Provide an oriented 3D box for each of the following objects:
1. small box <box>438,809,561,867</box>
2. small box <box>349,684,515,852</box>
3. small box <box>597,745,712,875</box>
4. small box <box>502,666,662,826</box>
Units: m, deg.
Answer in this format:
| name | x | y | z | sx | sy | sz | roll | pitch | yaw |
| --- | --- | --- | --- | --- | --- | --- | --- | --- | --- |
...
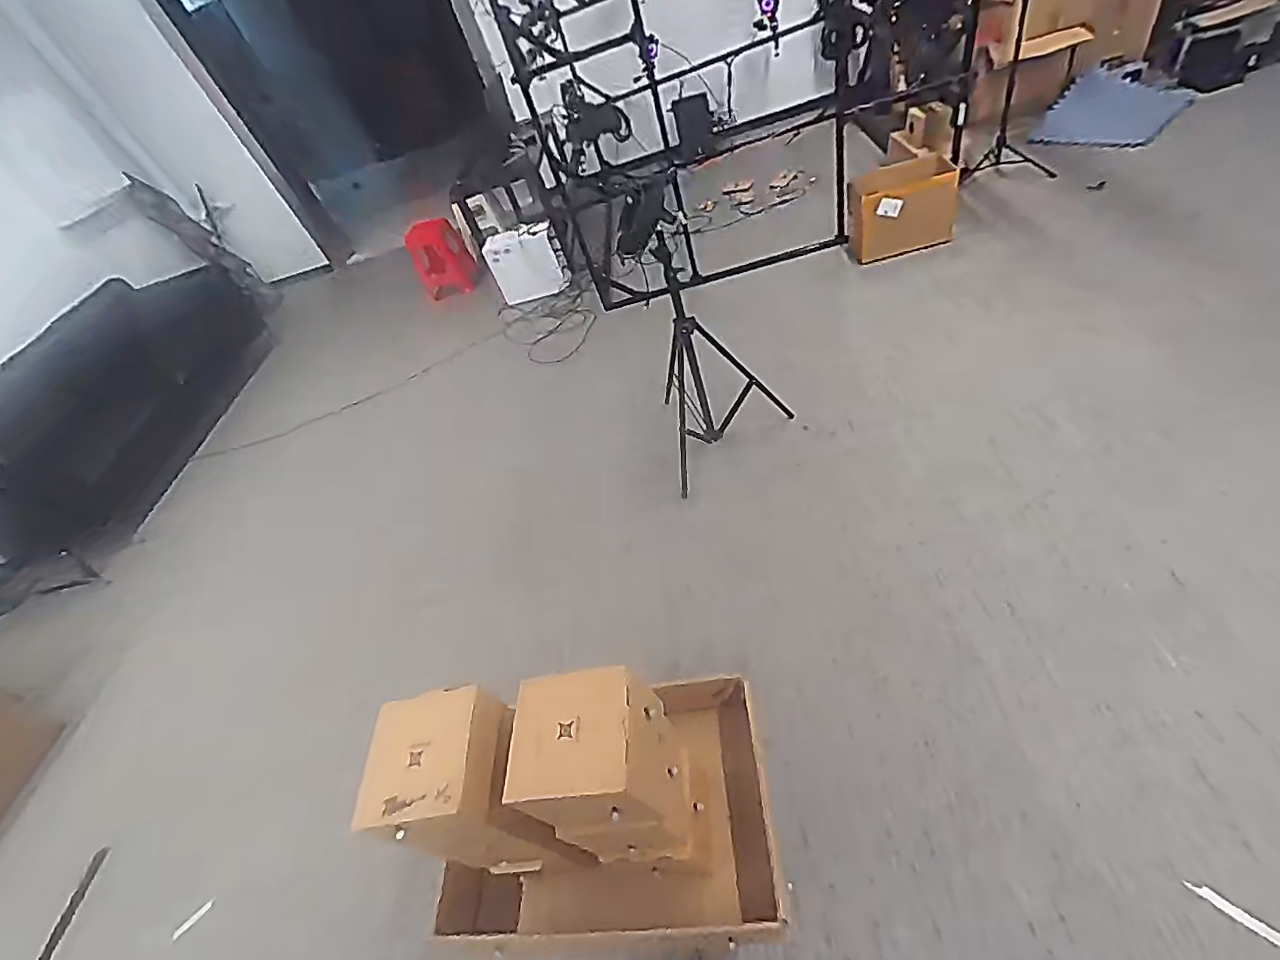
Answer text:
| name | x | y | z | sx | sy | sz | roll | pitch | yaw |
| --- | --- | --- | --- | --- | --- | --- | --- | --- | --- |
| small box | -0.240 | 0.548 | 0.940 | 0.168 | 0.176 | 0.179 | -14 | 46 | 10 |
| small box | -0.294 | 0.441 | 0.825 | 0.168 | 0.176 | 0.179 | -15 | 44 | 11 |
| small box | 0.032 | 0.614 | 1.003 | 0.168 | 0.176 | 0.179 | -12 | 46 | 15 |
| small box | -0.071 | 0.391 | 0.787 | 0.179 | 0.176 | 0.168 | -13 | 46 | 15 |
